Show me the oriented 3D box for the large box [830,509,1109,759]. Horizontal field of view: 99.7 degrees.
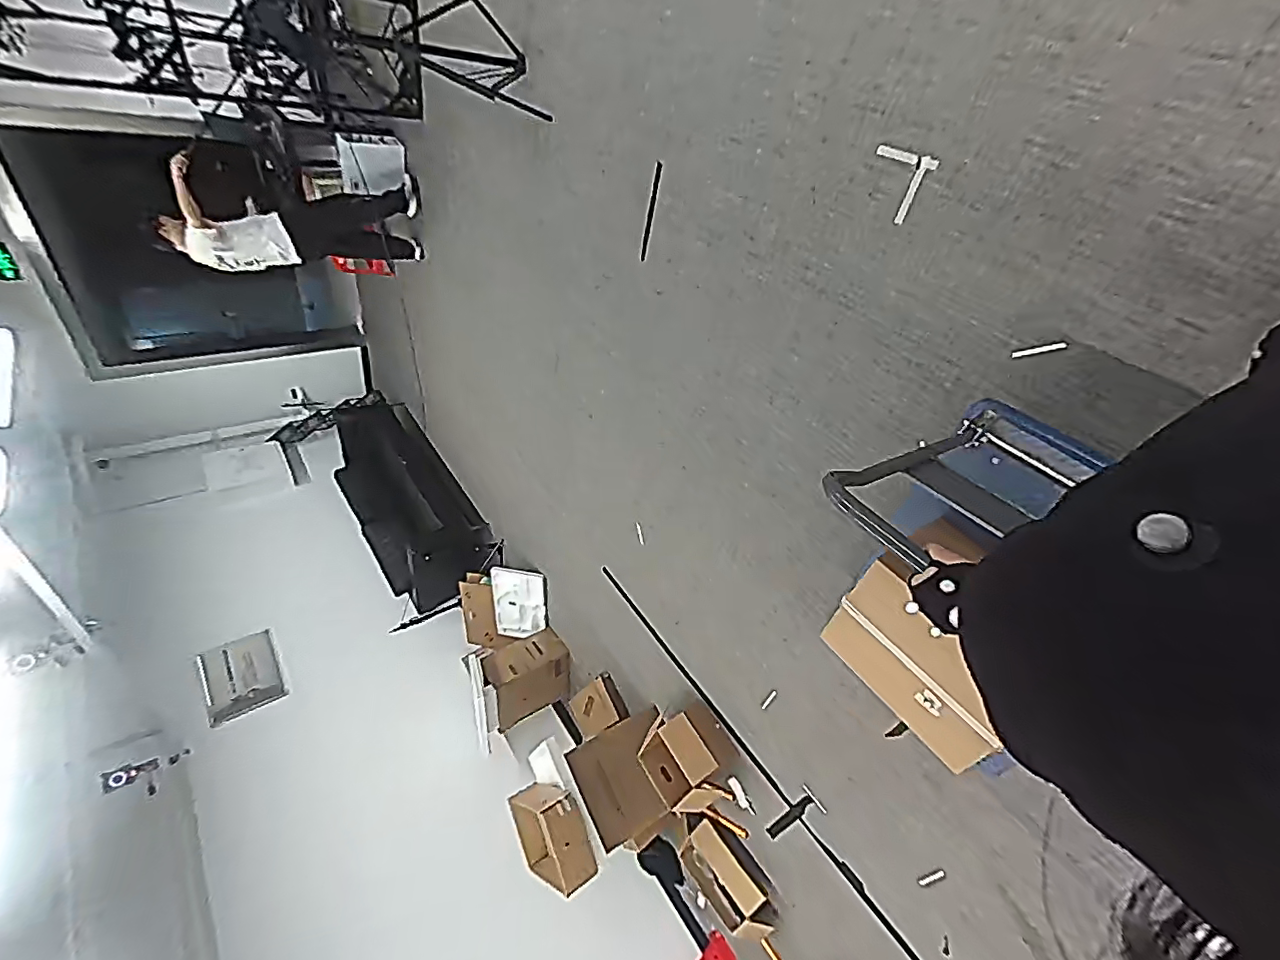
[{"bbox_3d":[0.746,0.337,1.268,0.408,0.320,0.320,45,139,31],"label":"large box"}]
